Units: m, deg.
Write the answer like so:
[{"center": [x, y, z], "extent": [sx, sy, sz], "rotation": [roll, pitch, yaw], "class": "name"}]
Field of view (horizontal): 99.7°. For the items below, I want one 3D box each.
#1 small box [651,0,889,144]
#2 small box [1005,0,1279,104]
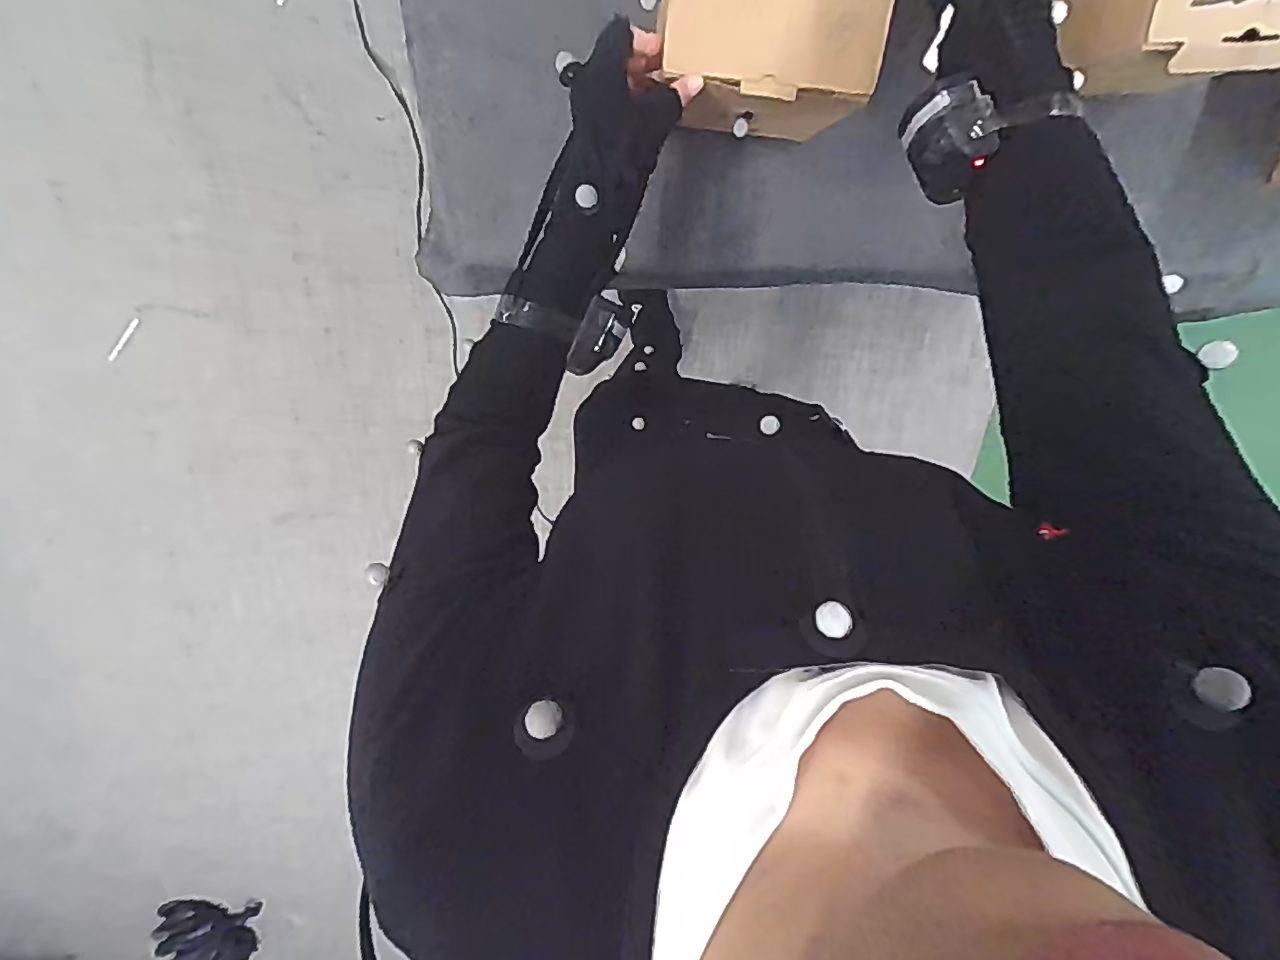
[{"center": [0.101, -0.402, 0.458], "extent": [0.168, 0.176, 0.179], "rotation": [4, 113, -4], "class": "small box"}, {"center": [0.450, -0.437, 0.455], "extent": [0.168, 0.176, 0.179], "rotation": [-4, 113, -1], "class": "small box"}]
